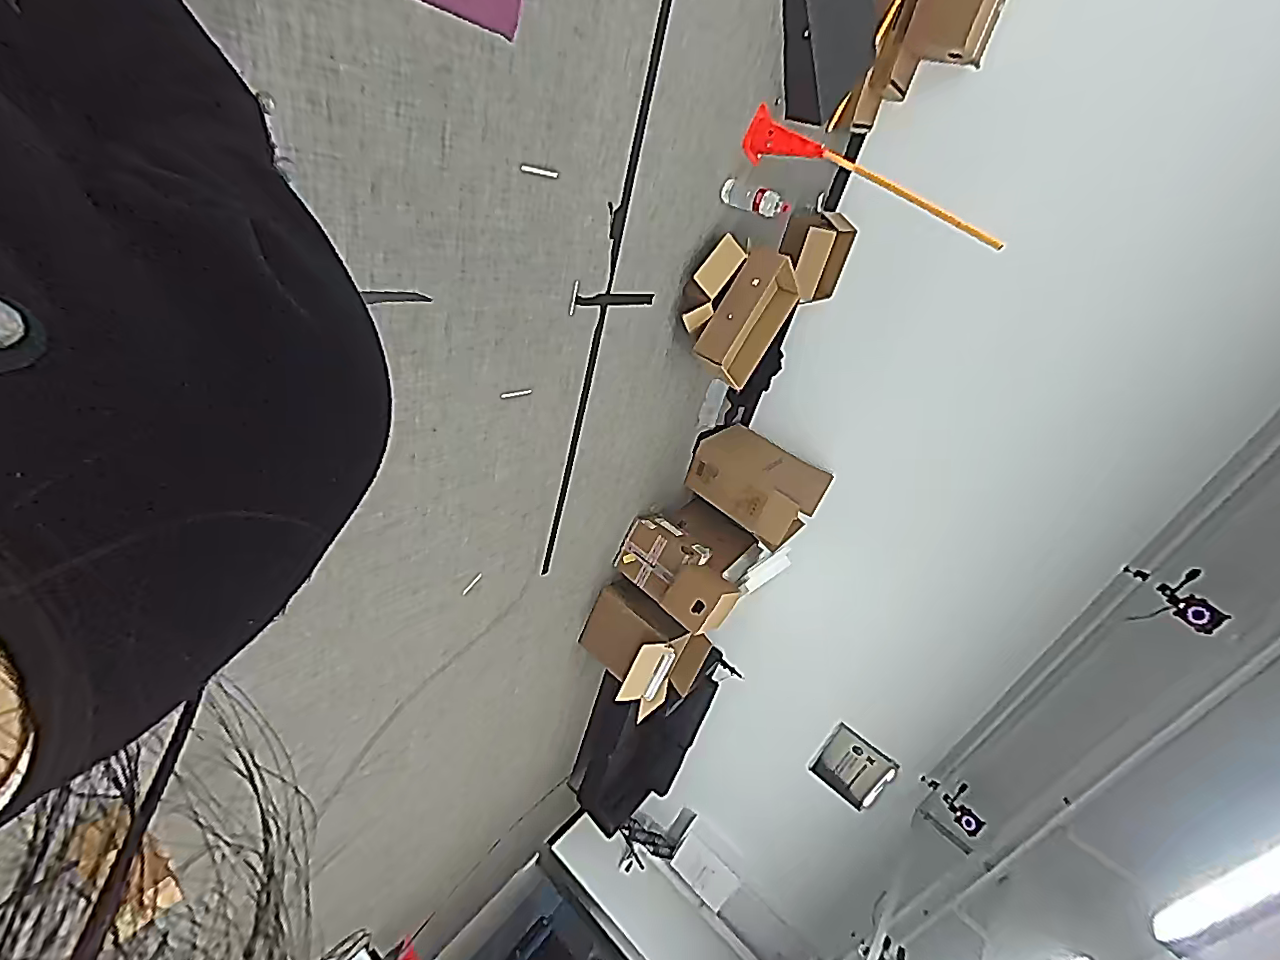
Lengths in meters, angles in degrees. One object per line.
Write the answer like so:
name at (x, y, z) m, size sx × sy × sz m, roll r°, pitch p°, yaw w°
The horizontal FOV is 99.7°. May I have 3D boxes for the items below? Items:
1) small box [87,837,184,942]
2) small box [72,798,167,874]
small box at (-1.549, 1.248, 1.661) m, size 0.168 × 0.176 × 0.179 m, roll -25°, pitch 141°, yaw -45°
small box at (-1.669, 1.166, 1.734) m, size 0.168 × 0.176 × 0.179 m, roll -25°, pitch 141°, yaw -46°
